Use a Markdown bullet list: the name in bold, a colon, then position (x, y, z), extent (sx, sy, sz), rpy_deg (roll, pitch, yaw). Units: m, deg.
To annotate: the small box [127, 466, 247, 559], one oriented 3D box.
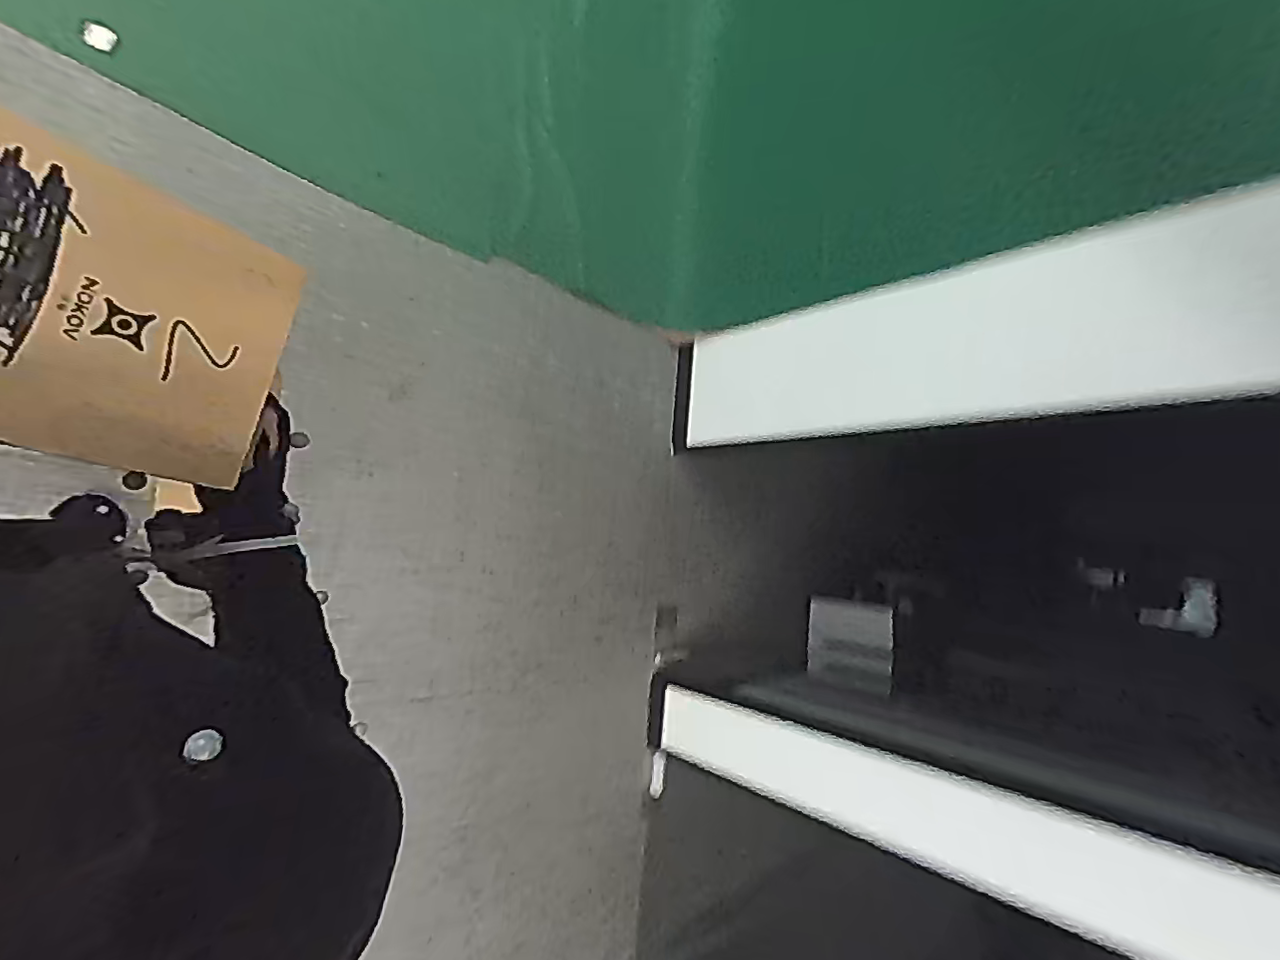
- **small box**: position (-0.946, 0.071, 1.128), extent (0.168, 0.176, 0.179), rpy_deg (9, 81, -46)
